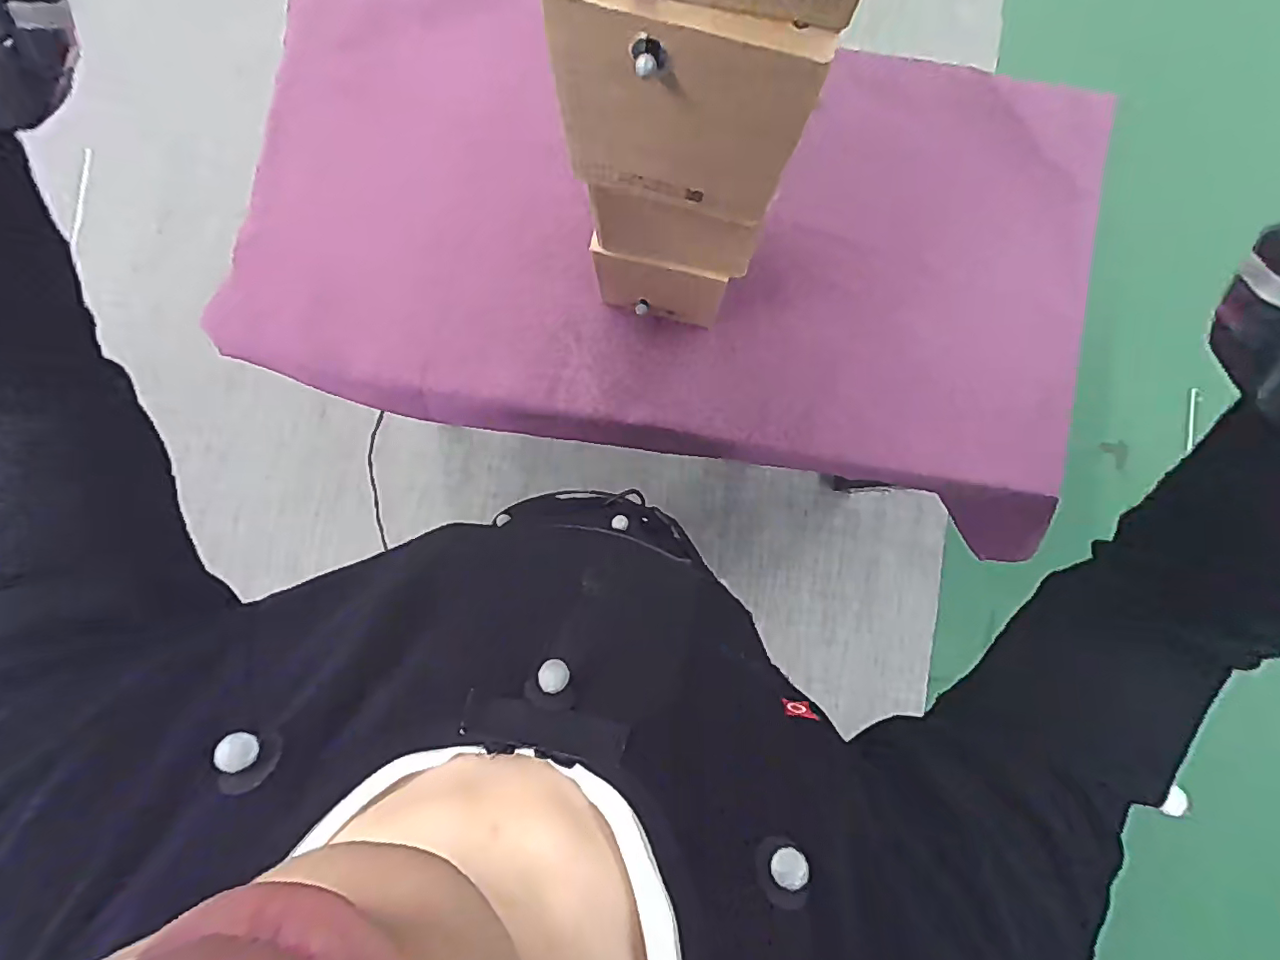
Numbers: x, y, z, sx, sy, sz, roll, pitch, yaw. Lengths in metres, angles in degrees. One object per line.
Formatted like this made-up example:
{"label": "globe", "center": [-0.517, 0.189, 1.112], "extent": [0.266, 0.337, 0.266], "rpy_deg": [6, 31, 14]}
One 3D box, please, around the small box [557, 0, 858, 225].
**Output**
{"label": "small box", "center": [0.049, -0.316, 0.372], "extent": [0.168, 0.176, 0.179], "rpy_deg": [15, 87, 1]}

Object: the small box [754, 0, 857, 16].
{"label": "small box", "center": [0.049, -0.339, 0.209], "extent": [0.168, 0.176, 0.179], "rpy_deg": [11, 86, 0]}

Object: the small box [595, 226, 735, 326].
{"label": "small box", "center": [0.046, -0.324, 0.698], "extent": [0.168, 0.176, 0.179], "rpy_deg": [14, 88, 1]}

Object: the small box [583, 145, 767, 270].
{"label": "small box", "center": [0.053, -0.332, 0.537], "extent": [0.179, 0.176, 0.168], "rpy_deg": [12, 87, 0]}
